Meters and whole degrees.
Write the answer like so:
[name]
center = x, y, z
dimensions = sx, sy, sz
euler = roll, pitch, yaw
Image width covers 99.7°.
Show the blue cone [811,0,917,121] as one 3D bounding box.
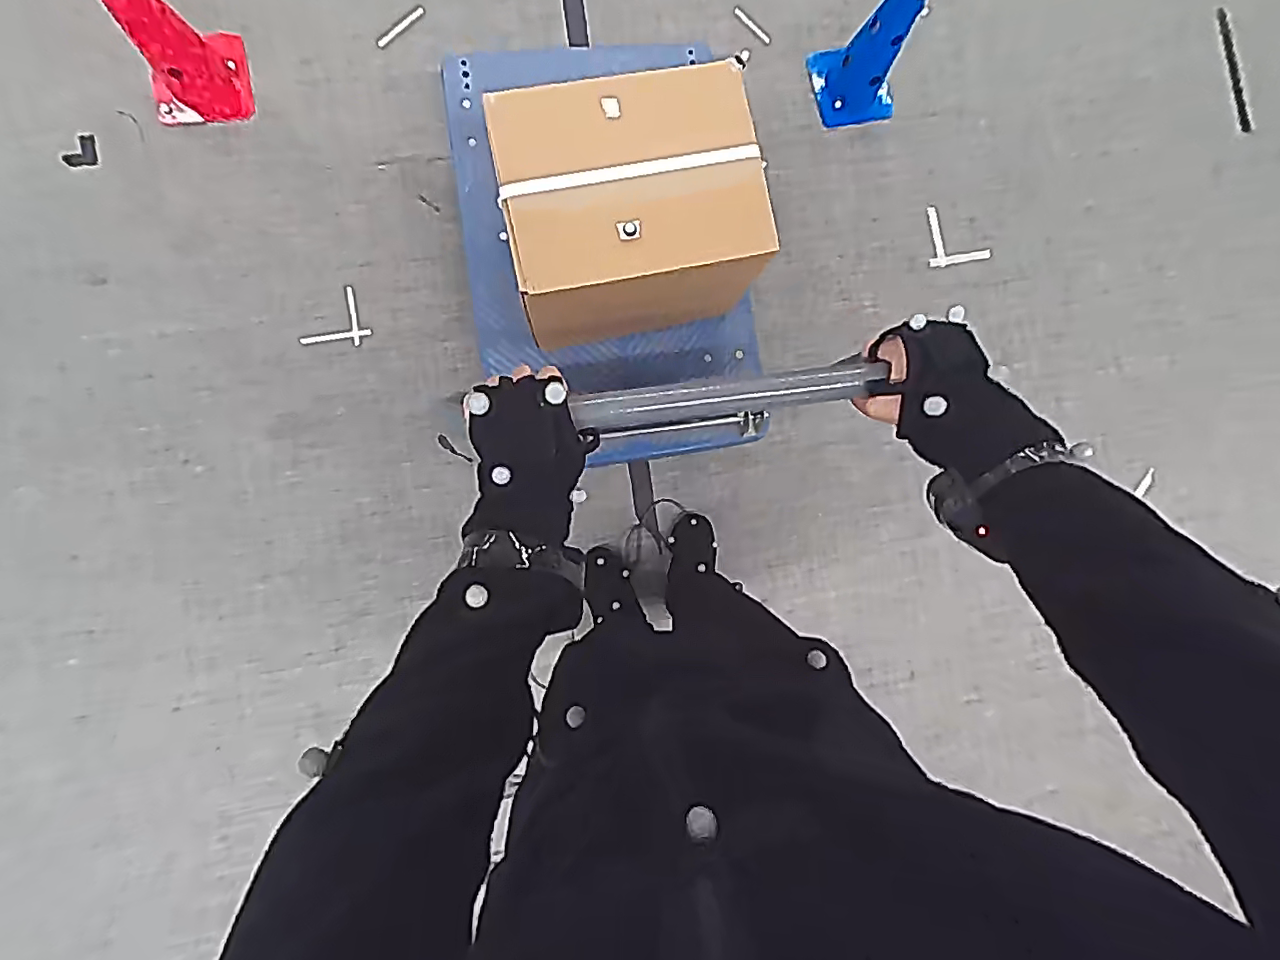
[blue cone]
center = 0.563, -1.028, 1.224
dimensions = 0.193, 0.380, 0.192
euler = -13, 88, -7
